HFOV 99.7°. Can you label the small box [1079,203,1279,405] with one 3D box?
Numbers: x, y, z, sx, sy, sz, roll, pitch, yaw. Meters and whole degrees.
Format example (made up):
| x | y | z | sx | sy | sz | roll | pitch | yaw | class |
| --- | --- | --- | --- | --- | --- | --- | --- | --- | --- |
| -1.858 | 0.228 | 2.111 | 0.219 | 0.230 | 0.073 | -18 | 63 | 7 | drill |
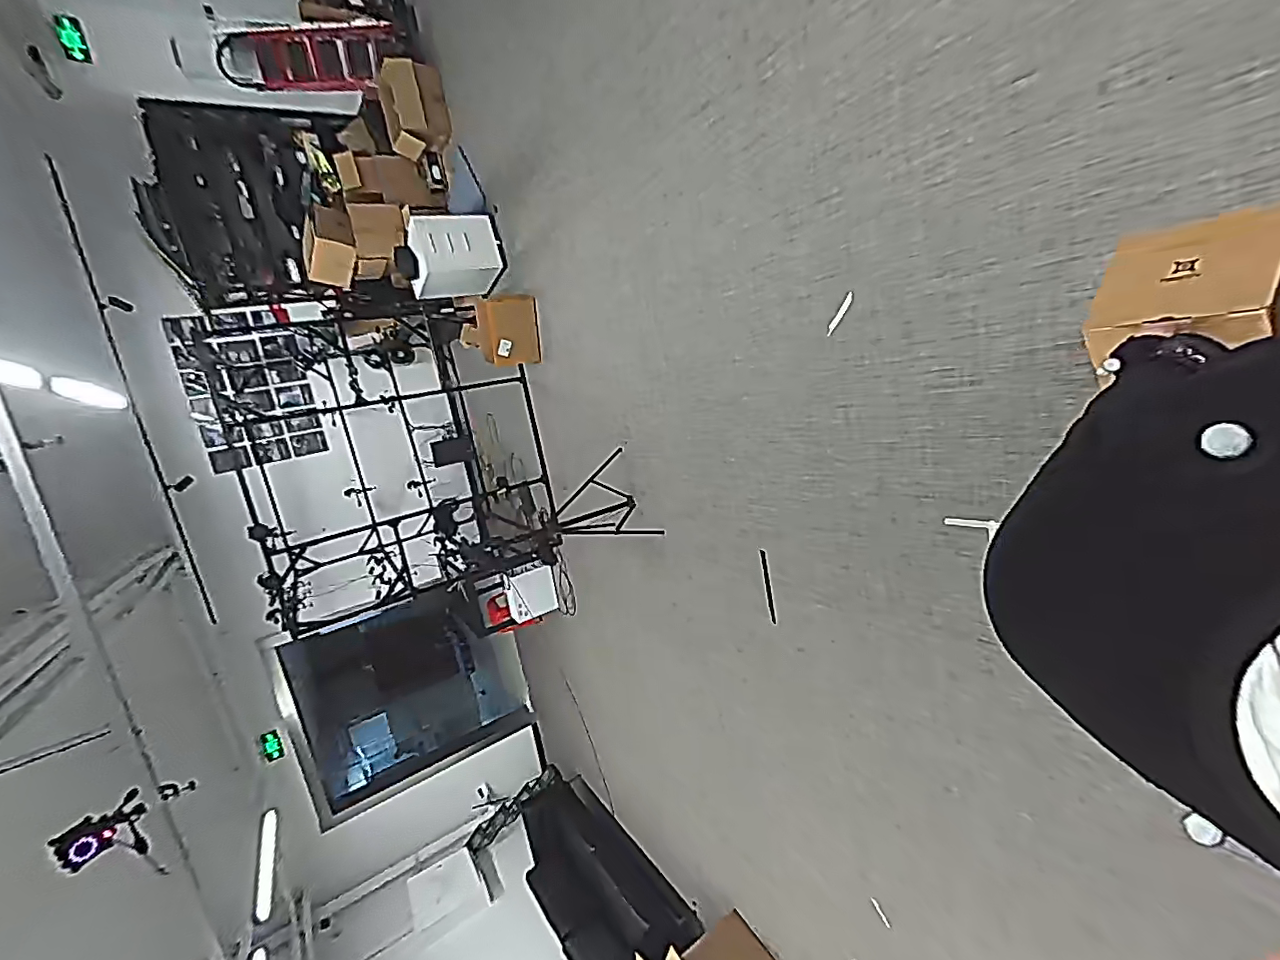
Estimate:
| x | y | z | sx | sy | sz | roll | pitch | yaw | class |
| --- | --- | --- | --- | --- | --- | --- | --- | --- | --- |
| 0.716 | -0.212 | 0.704 | 0.176 | 0.179 | 0.168 | 42 | 163 | -31 | small box |
